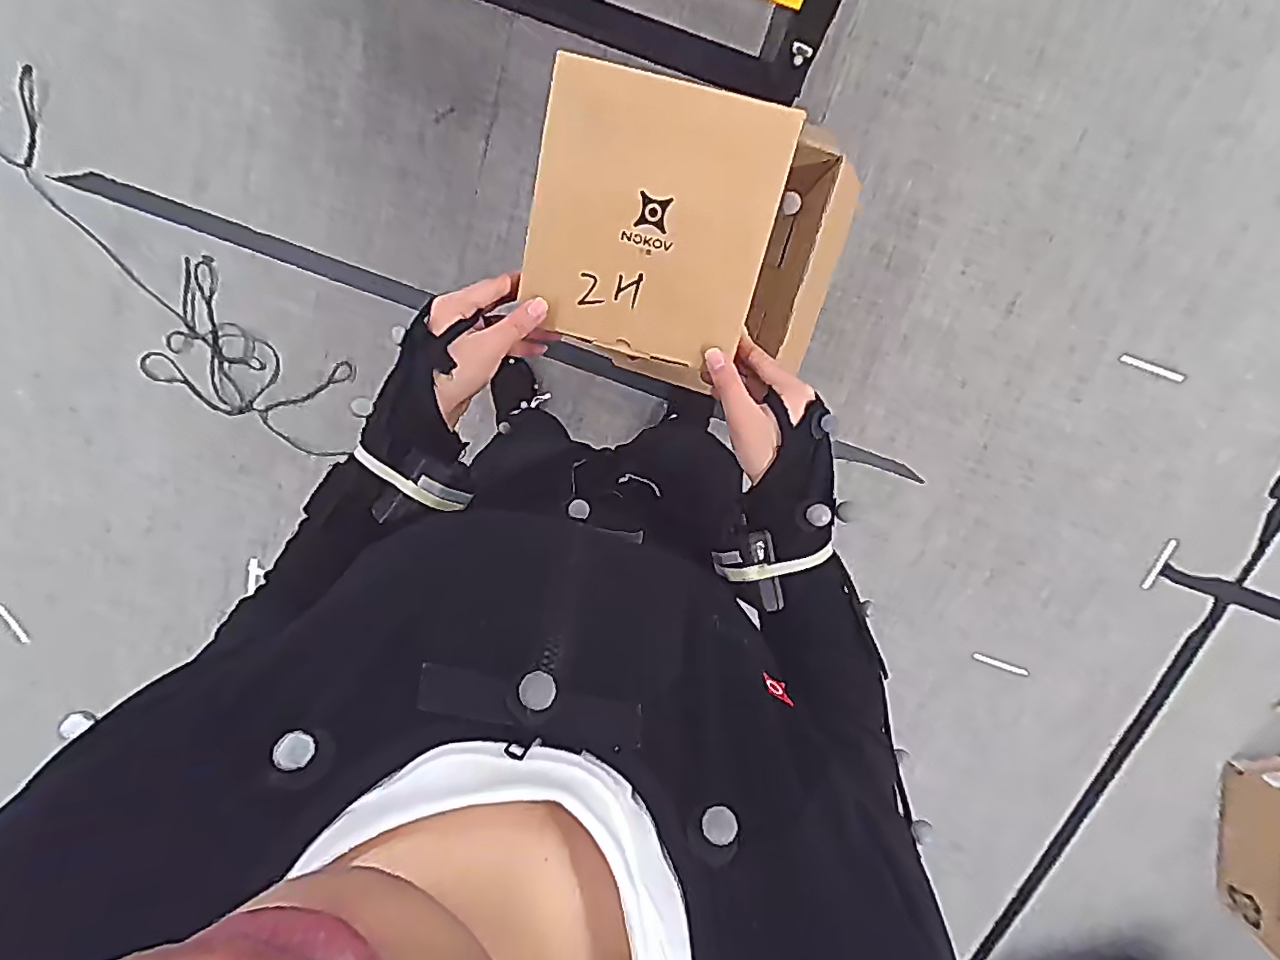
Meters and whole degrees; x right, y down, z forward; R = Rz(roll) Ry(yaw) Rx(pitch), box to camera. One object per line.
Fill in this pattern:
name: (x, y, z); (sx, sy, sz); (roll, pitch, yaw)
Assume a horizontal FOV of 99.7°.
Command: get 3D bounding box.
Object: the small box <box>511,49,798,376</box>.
small box: (0.011, -0.200, 0.445); (0.168, 0.176, 0.179); (15, 110, 2)
